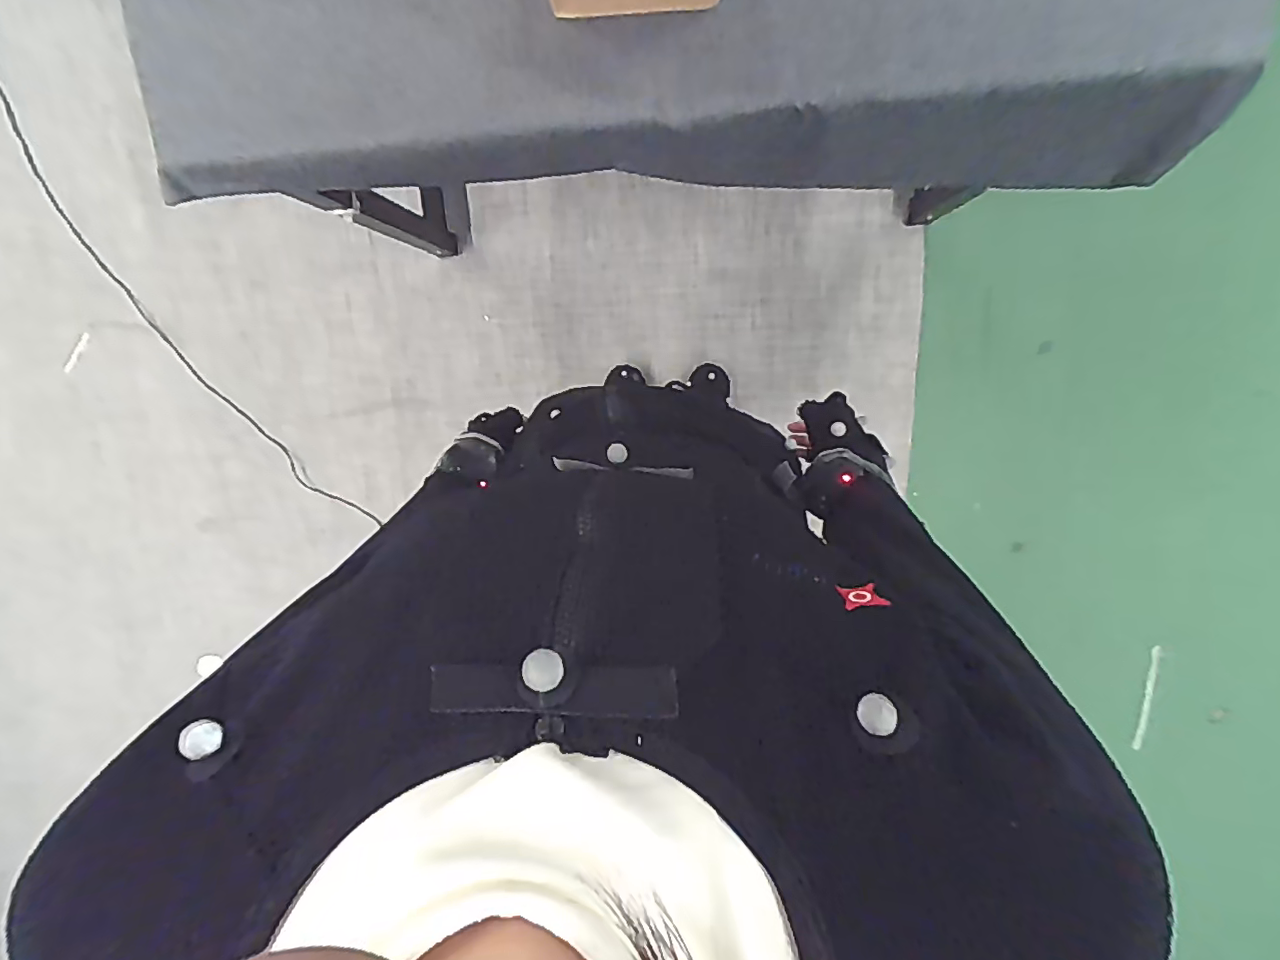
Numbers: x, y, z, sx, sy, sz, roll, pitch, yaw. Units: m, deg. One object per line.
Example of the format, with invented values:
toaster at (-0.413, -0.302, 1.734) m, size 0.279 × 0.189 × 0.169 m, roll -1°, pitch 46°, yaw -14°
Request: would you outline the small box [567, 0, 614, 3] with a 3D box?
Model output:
small box at (-0.011, -0.575, 0.482) m, size 0.179 × 0.176 × 0.168 m, roll -3°, pitch 102°, yaw 5°
